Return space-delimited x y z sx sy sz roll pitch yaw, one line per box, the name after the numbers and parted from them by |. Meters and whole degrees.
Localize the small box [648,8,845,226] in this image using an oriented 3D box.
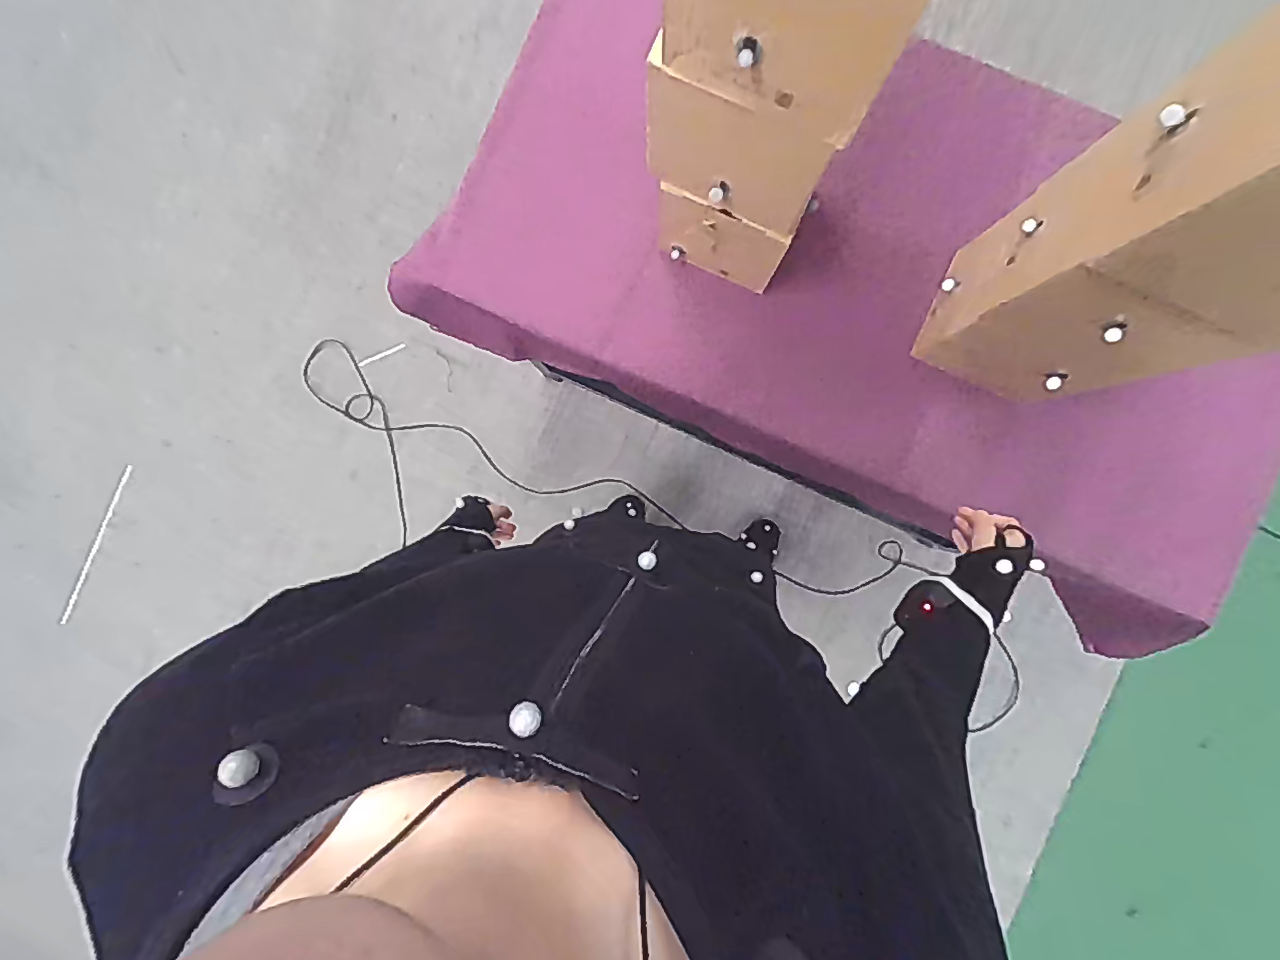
0.120 -0.381 0.526 0.179 0.176 0.168 26 90 1 | small box

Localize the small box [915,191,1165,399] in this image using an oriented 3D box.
0.493 -0.213 0.679 0.179 0.176 0.168 25 90 2 | small box

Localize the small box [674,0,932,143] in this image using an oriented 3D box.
0.127 -0.382 0.363 0.168 0.176 0.179 24 91 1 | small box

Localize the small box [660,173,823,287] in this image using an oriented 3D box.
0.134 -0.377 0.691 0.168 0.176 0.179 24 90 1 | small box

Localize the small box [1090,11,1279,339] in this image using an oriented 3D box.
0.466 -0.210 0.352 0.179 0.176 0.168 25 89 2 | small box
